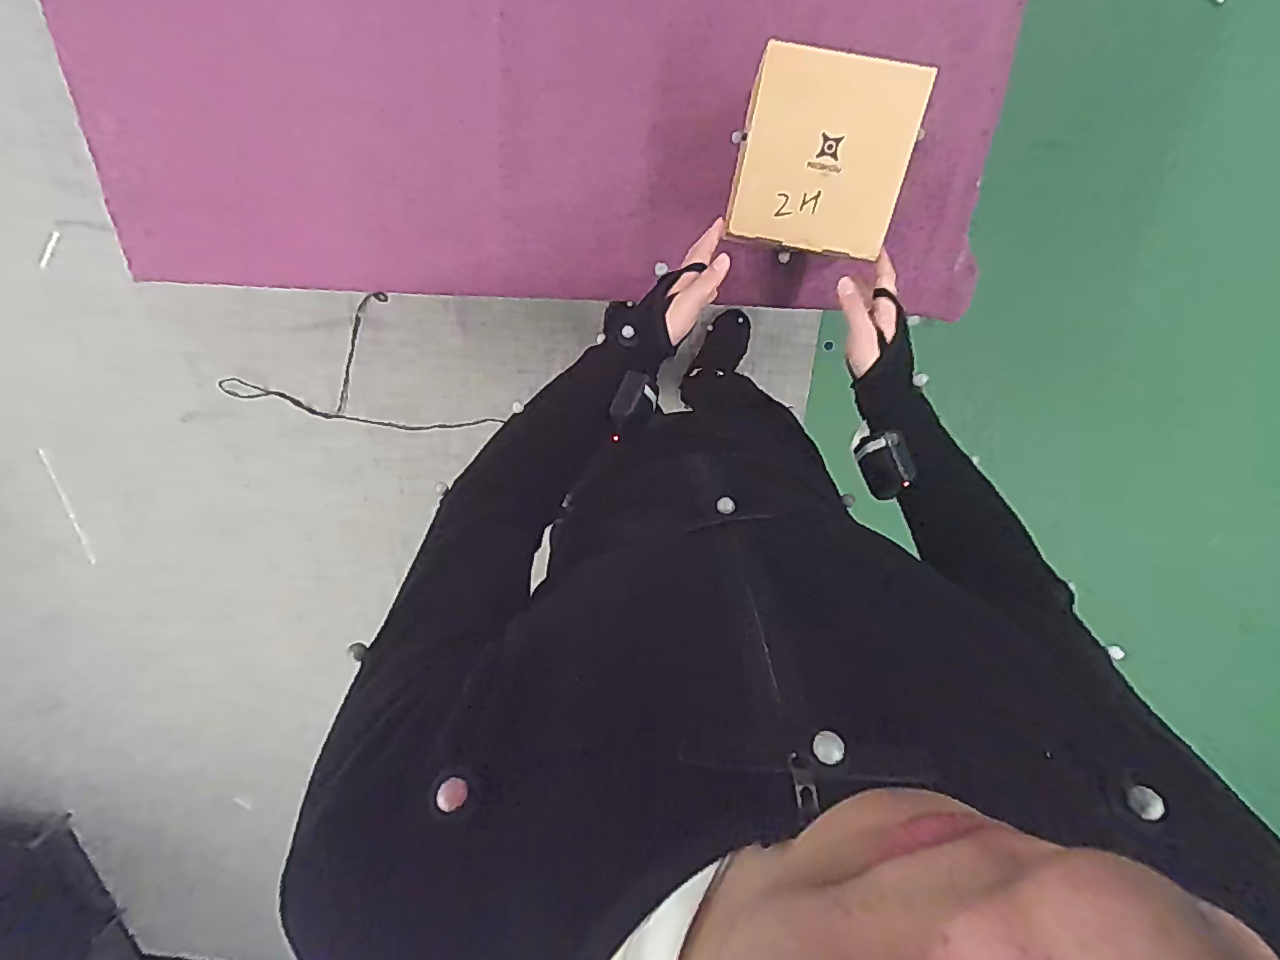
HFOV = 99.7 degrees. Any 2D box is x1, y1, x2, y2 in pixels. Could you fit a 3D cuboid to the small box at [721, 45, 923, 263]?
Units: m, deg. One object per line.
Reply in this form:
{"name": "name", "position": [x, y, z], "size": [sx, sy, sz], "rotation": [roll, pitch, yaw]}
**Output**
{"name": "small box", "position": [0.192, -0.364, 0.634], "size": [0.168, 0.176, 0.179], "rotation": [12, 115, 3]}
